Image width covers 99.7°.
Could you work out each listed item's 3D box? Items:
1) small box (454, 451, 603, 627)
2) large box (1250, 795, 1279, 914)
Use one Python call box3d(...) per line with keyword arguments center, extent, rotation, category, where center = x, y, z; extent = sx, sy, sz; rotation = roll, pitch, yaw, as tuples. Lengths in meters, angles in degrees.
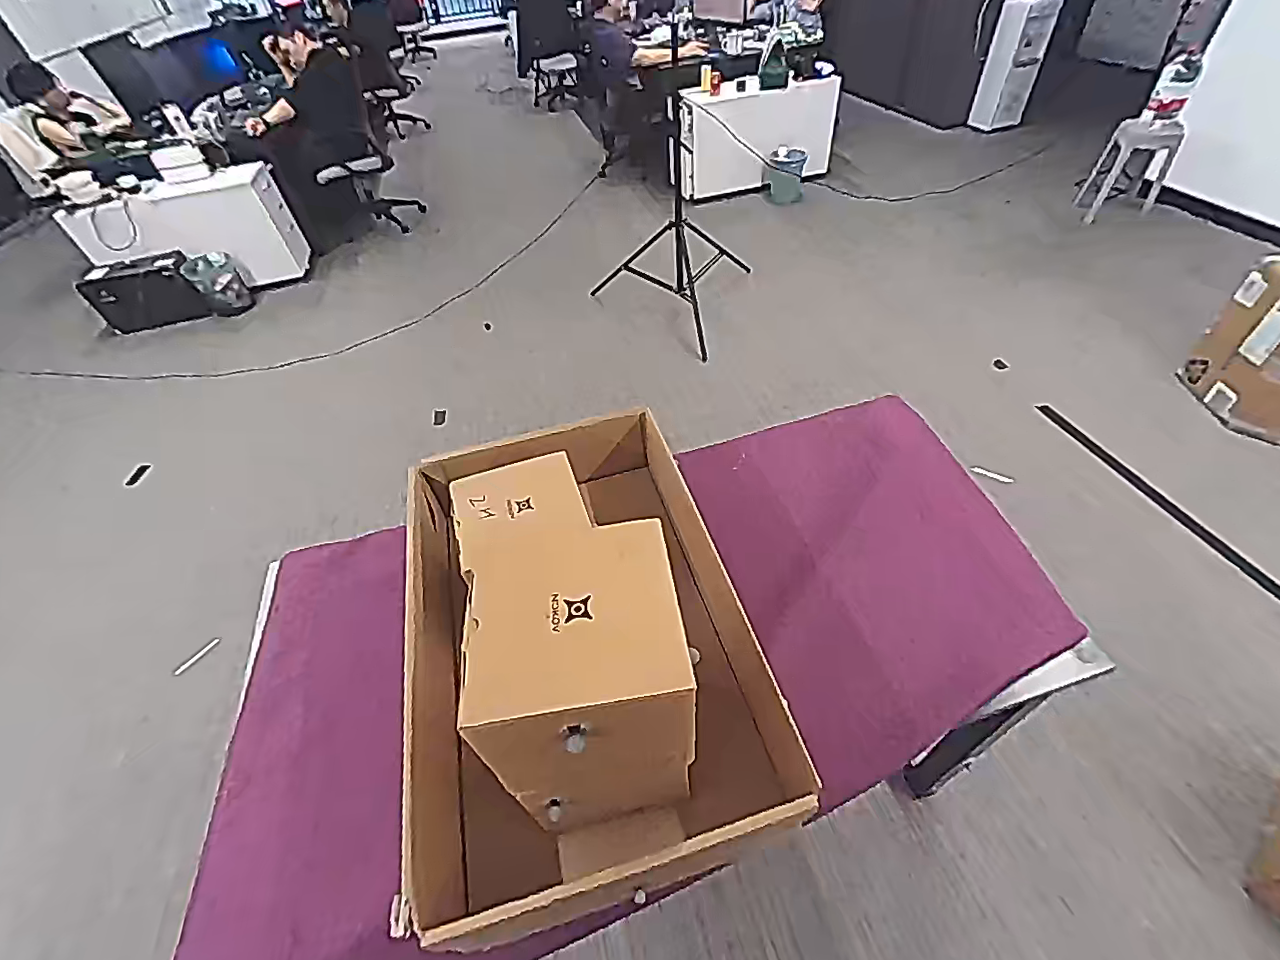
box3d(center=(-0.157, 0.088, 0.795), extent=(0.179, 0.176, 0.168), rotation=(-16, 48, -11), category="small box")
box3d(center=(1.474, 0.758, 0.951), extent=(0.320, 0.320, 0.408), rotation=(-35, 52, -25), category="large box")
